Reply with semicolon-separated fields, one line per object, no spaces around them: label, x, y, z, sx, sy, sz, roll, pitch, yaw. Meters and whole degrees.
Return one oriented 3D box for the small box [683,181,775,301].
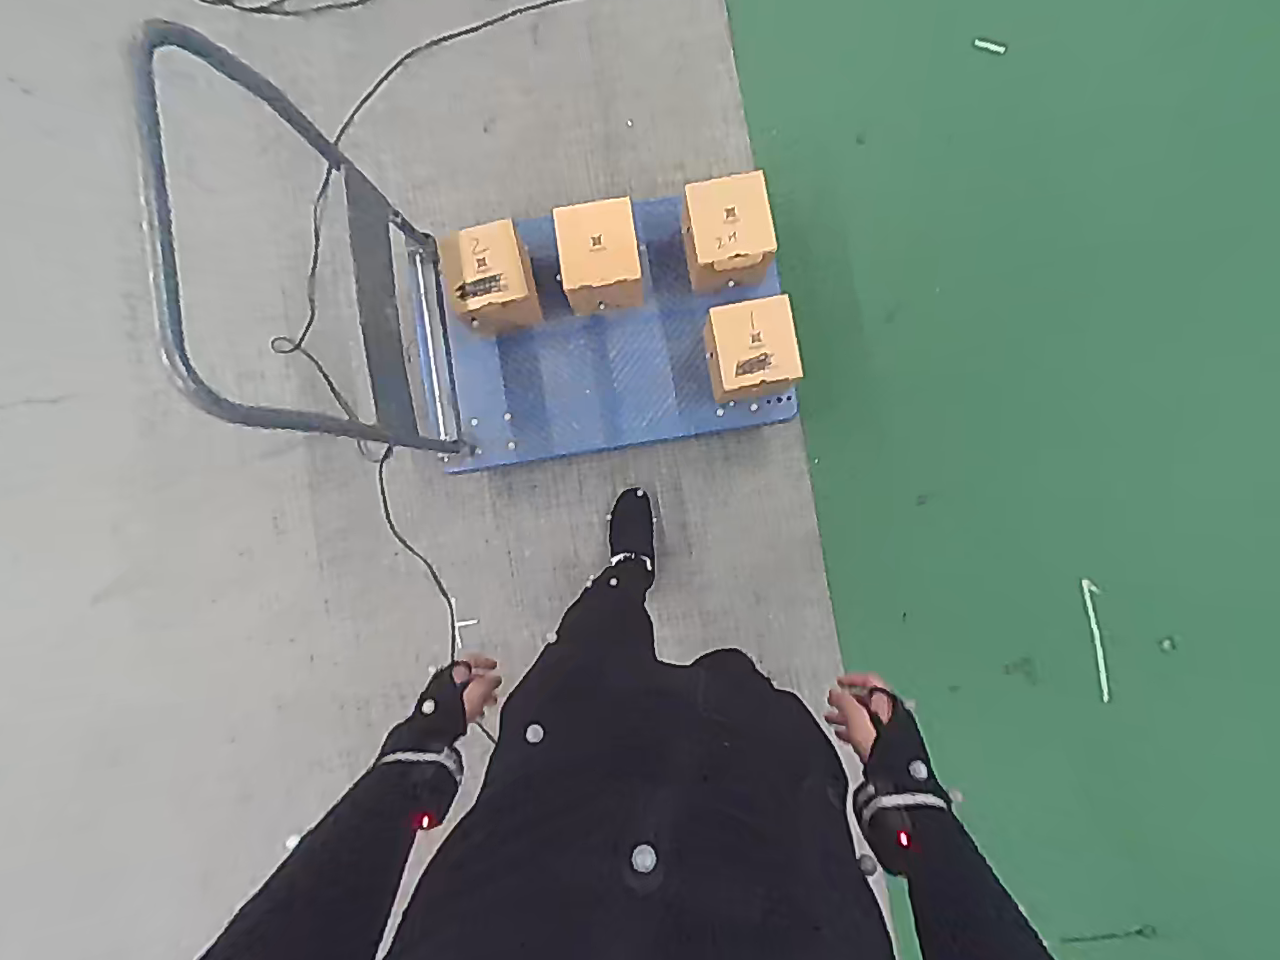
small box;0.190;-0.523;1.205;0.168;0.176;0.179;-9;87;2

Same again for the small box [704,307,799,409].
small box;0.241;-0.262;1.208;0.168;0.176;0.179;-10;86;1

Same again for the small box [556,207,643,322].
small box;-0.085;-0.475;1.212;0.168;0.176;0.179;-9;88;1
